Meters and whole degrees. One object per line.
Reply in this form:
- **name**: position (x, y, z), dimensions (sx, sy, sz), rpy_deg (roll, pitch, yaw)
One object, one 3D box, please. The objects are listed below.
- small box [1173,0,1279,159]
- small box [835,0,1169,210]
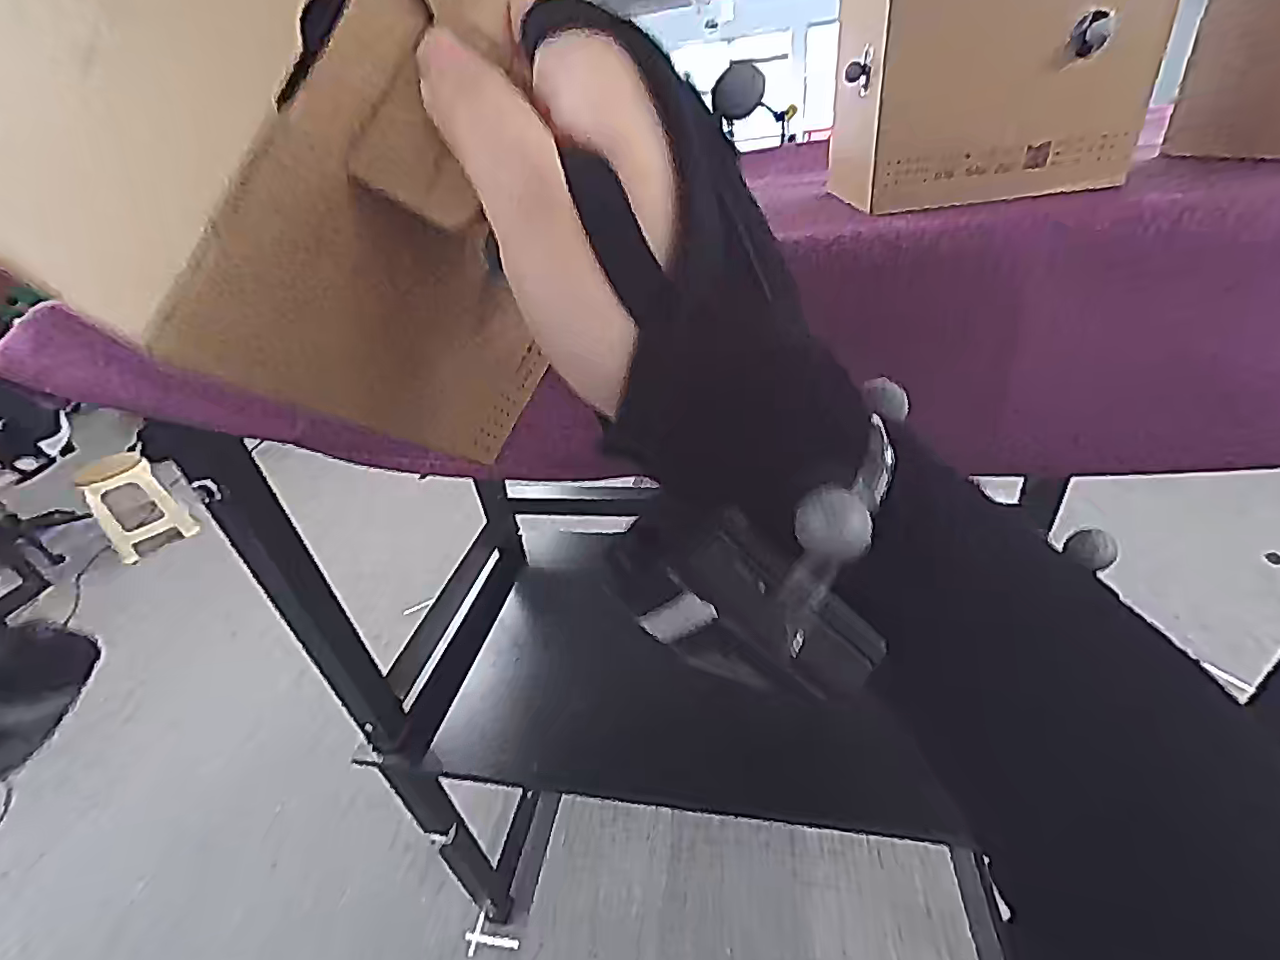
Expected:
- **small box**: position (0.504, -0.305, 0.336), dimensions (0.168, 0.176, 0.179), rpy_deg (-5, 31, 7)
- **small box**: position (0.250, -0.308, 0.407), dimensions (0.168, 0.176, 0.179), rpy_deg (-2, 32, 9)
